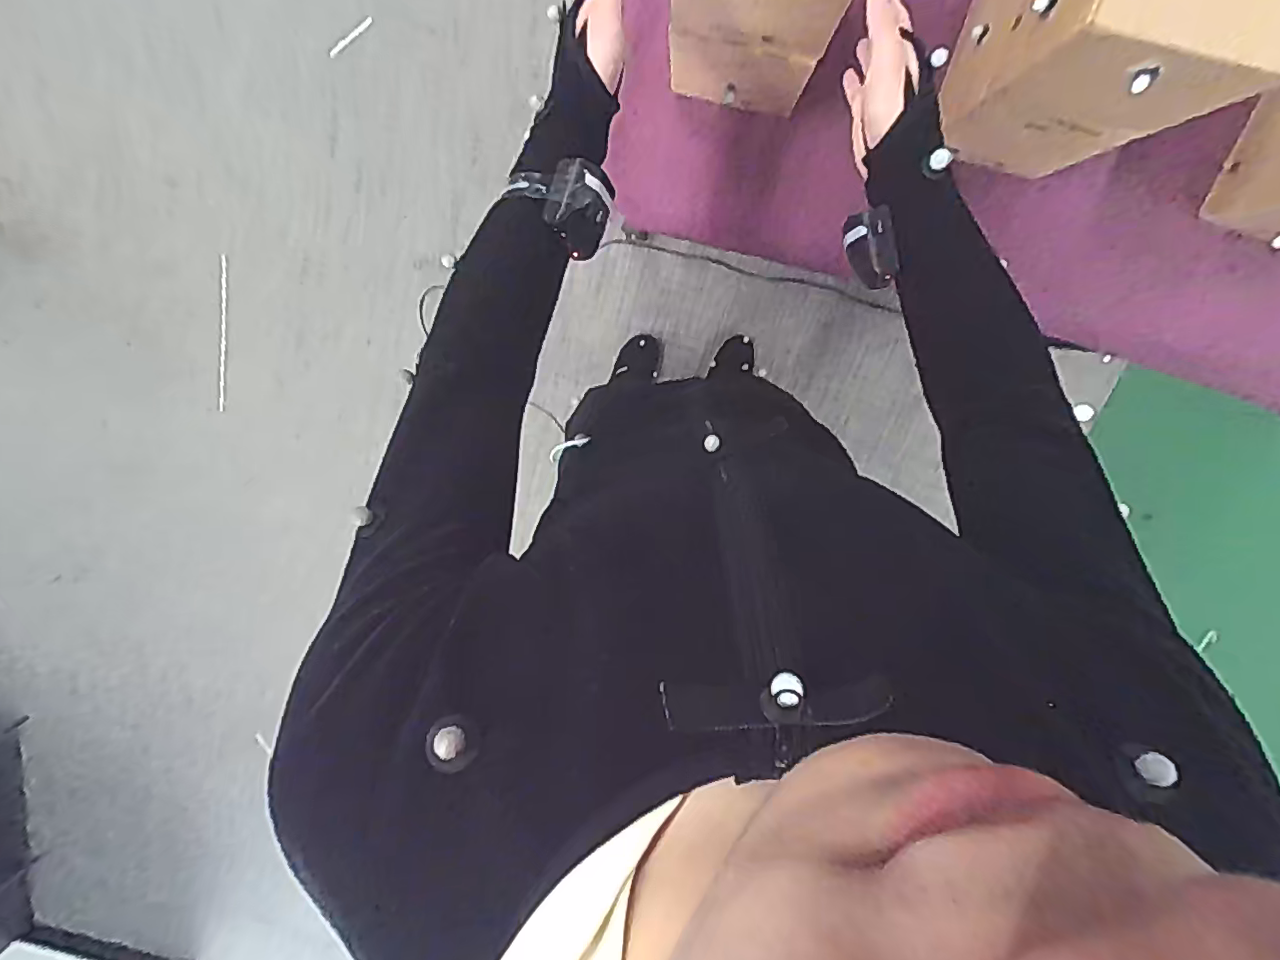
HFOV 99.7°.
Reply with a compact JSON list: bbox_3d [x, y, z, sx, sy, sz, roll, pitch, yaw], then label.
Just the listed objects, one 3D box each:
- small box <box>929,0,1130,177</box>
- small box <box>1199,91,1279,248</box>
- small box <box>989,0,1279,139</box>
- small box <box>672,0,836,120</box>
[{"bbox_3d":[0.472,-0.481,0.633,0.168,0.176,0.179,14,107,0],"label":"small box"},{"bbox_3d":[0.849,-0.377,0.634,0.179,0.176,0.168,16,107,0],"label":"small box"},{"bbox_3d":[0.459,-0.431,0.478,0.179,0.176,0.168,14,108,-1],"label":"small box"},{"bbox_3d":[0.136,-0.563,0.632,0.168,0.176,0.179,13,107,1],"label":"small box"}]
